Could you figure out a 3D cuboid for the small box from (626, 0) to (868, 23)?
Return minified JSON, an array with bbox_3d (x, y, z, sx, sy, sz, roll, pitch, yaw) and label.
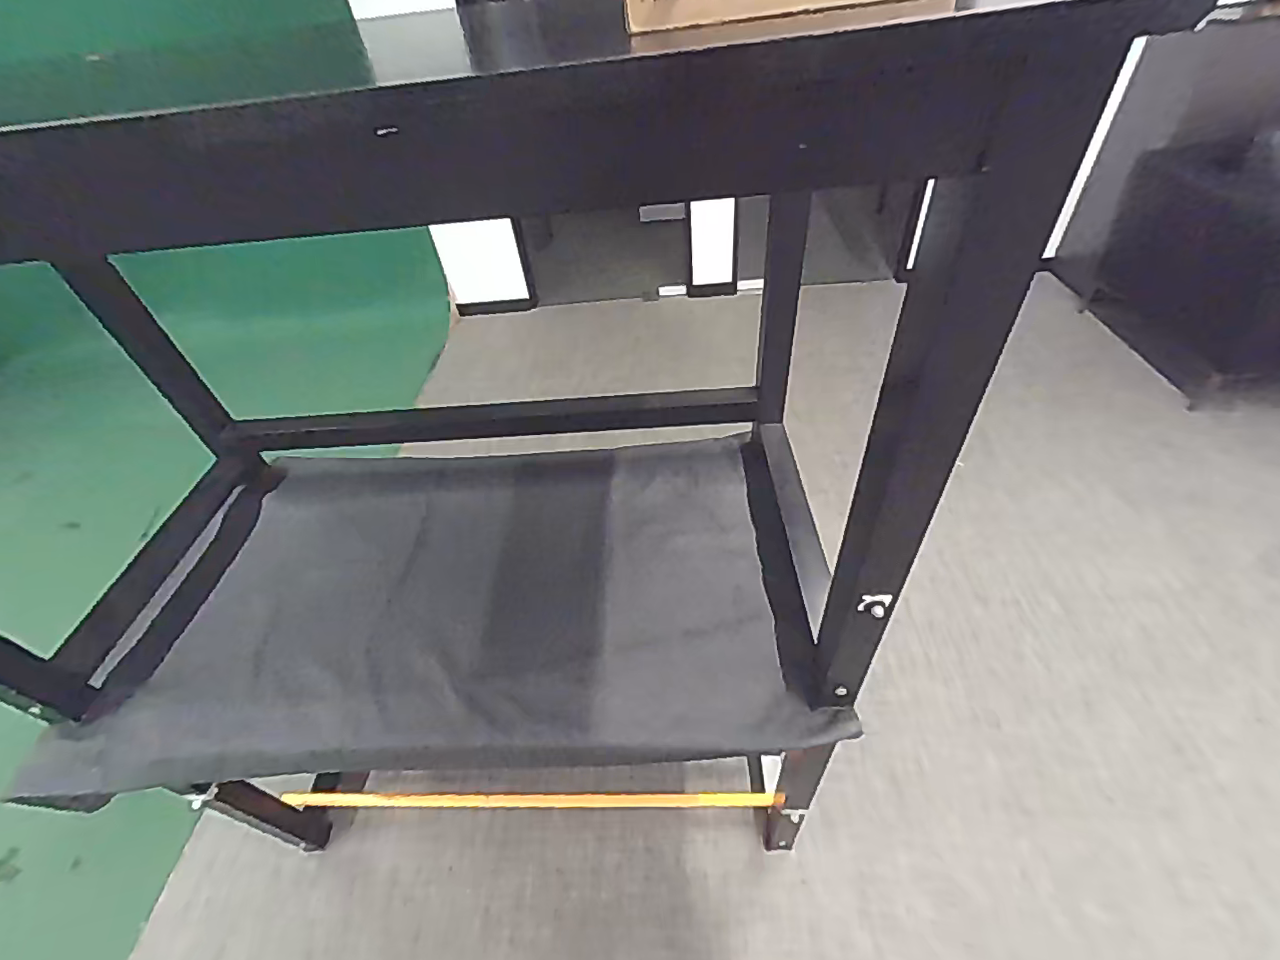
[{"bbox_3d":[0.071,-0.361,0.286,0.168,0.176,0.179,-1,43,7],"label":"small box"}]
